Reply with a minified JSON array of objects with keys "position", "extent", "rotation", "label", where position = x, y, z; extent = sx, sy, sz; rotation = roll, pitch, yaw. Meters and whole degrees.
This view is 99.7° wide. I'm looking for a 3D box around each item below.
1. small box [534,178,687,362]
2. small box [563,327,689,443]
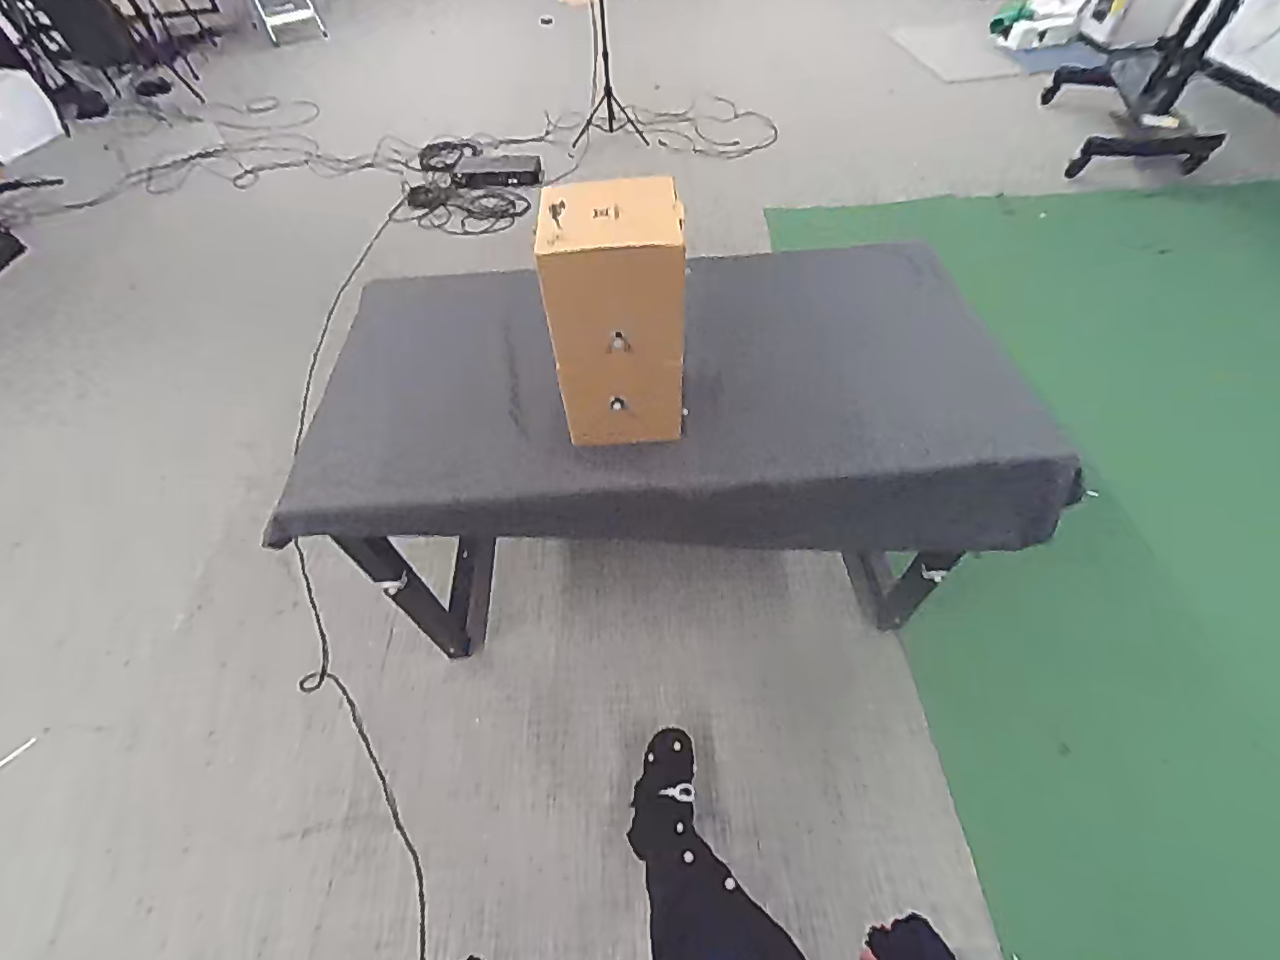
[{"position":[-0.034,-0.275,0.724],"extent":[0.179,0.176,0.168],"rotation":[-3,53,0],"label":"small box"},{"position":[-0.025,-0.176,0.853],"extent":[0.179,0.176,0.168],"rotation":[-5,54,-2],"label":"small box"}]
